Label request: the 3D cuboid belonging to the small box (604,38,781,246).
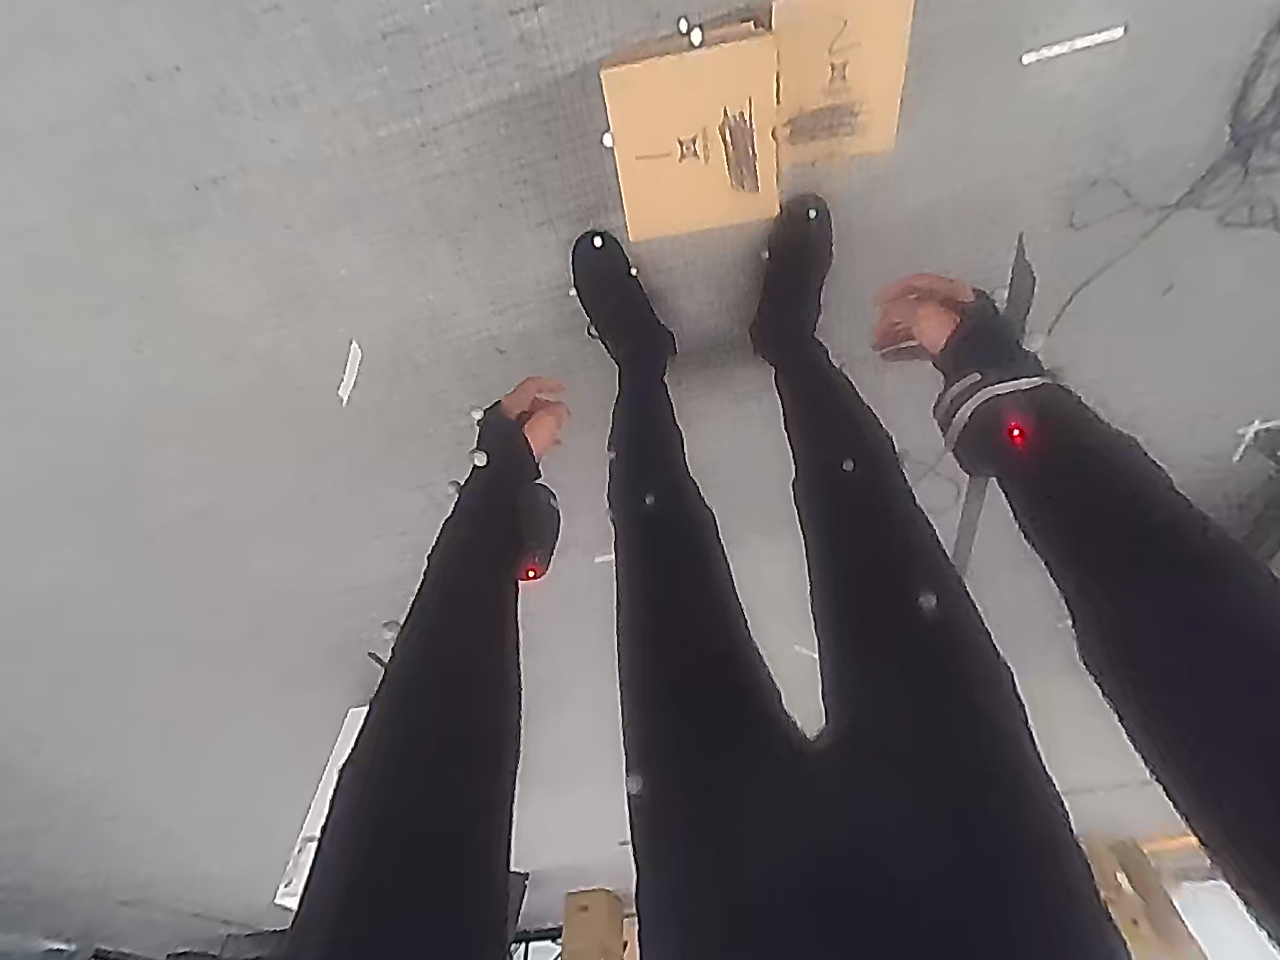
[{"bbox_3d":[0.060,-0.396,0.631,0.179,0.176,0.168,-7,130,6],"label":"small box"}]
